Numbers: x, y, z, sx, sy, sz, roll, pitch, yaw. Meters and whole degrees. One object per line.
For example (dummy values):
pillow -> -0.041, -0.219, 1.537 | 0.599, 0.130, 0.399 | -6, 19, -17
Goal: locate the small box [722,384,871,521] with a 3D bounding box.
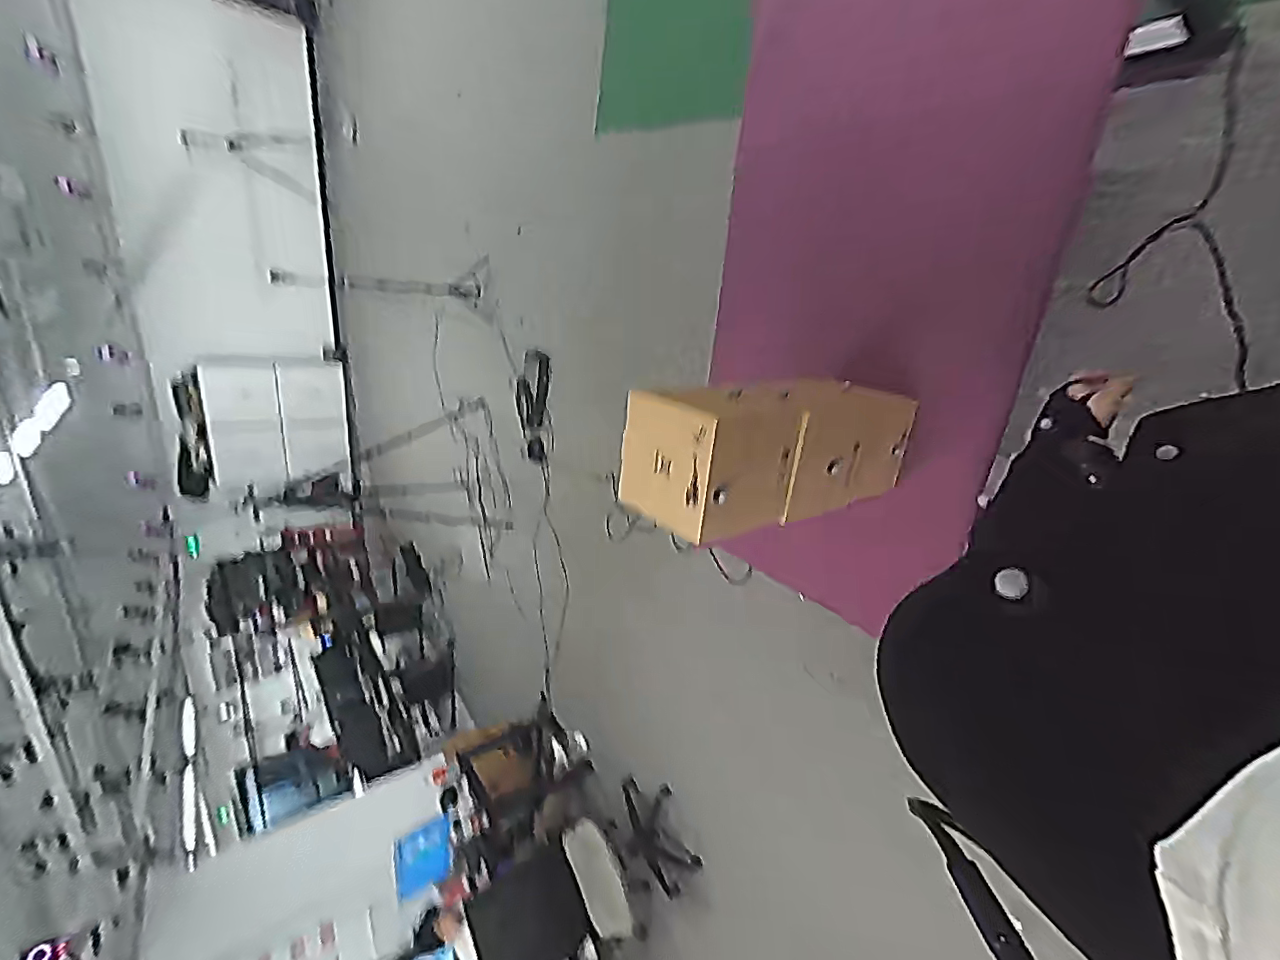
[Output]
small box -> 0.233, -0.056, 0.858 | 0.179, 0.176, 0.168 | 30, 120, 46

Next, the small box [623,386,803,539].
small box -> 0.098, -0.037, 0.766 | 0.179, 0.176, 0.168 | 27, 120, 47
